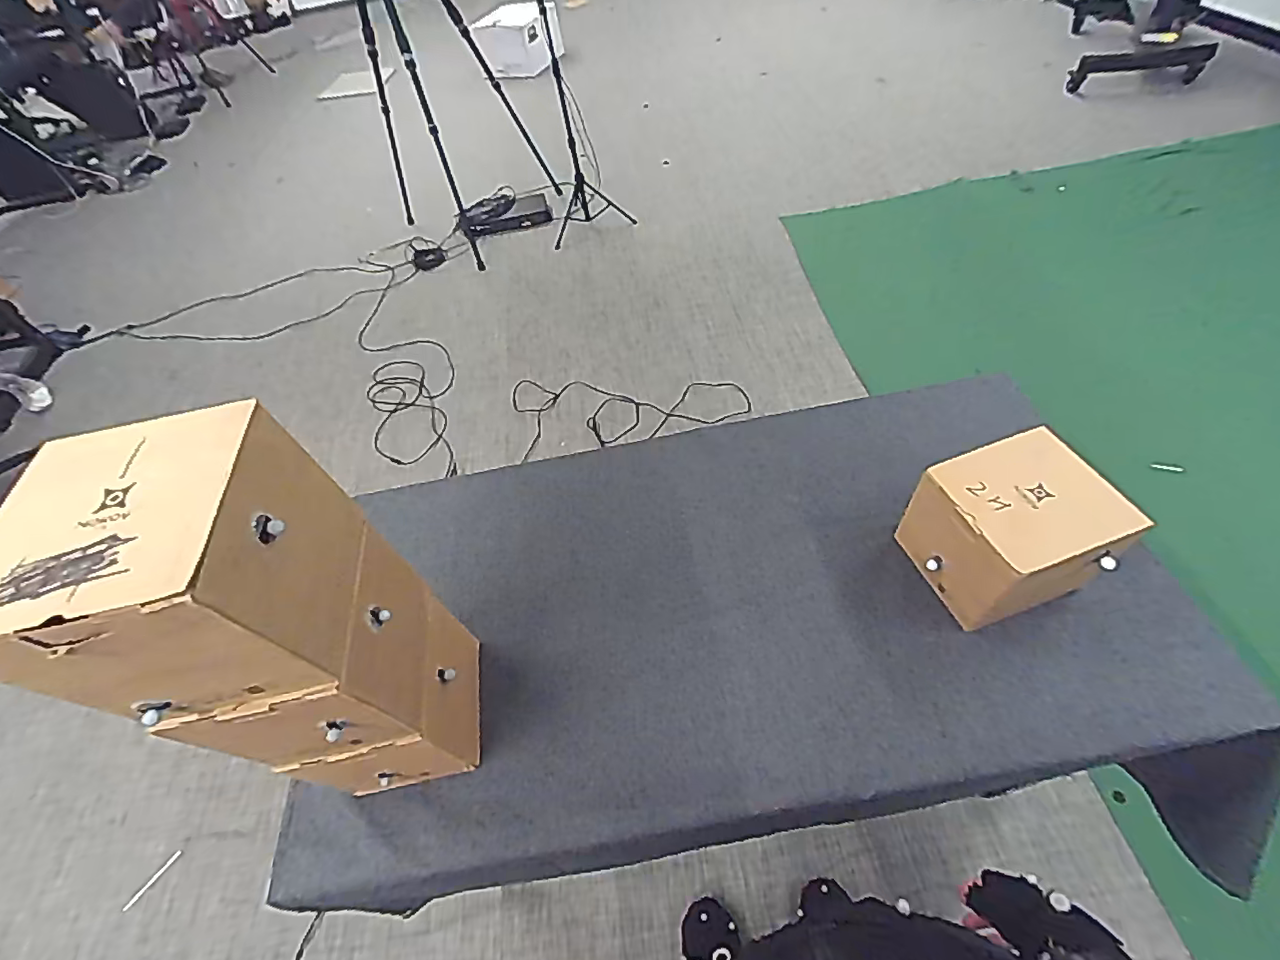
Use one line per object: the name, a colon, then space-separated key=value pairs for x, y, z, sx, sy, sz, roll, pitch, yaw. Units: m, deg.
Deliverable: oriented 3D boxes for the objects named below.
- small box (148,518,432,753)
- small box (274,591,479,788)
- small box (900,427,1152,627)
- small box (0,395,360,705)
small box: x=-0.331 y=0.168 z=0.559 sx=0.168 sy=0.176 sz=0.179 roll=-11 pitch=53 yaw=-1
small box: x=-0.313 y=0.268 z=0.686 sx=0.168 sy=0.176 sz=0.179 roll=-12 pitch=53 yaw=-1
small box: x=0.477 y=0.065 z=0.705 sx=0.179 sy=0.176 sz=0.168 roll=-19 pitch=53 yaw=-5
small box: x=-0.352 y=0.065 z=0.433 sx=0.168 sy=0.176 sz=0.179 roll=-12 pitch=52 yaw=-2
